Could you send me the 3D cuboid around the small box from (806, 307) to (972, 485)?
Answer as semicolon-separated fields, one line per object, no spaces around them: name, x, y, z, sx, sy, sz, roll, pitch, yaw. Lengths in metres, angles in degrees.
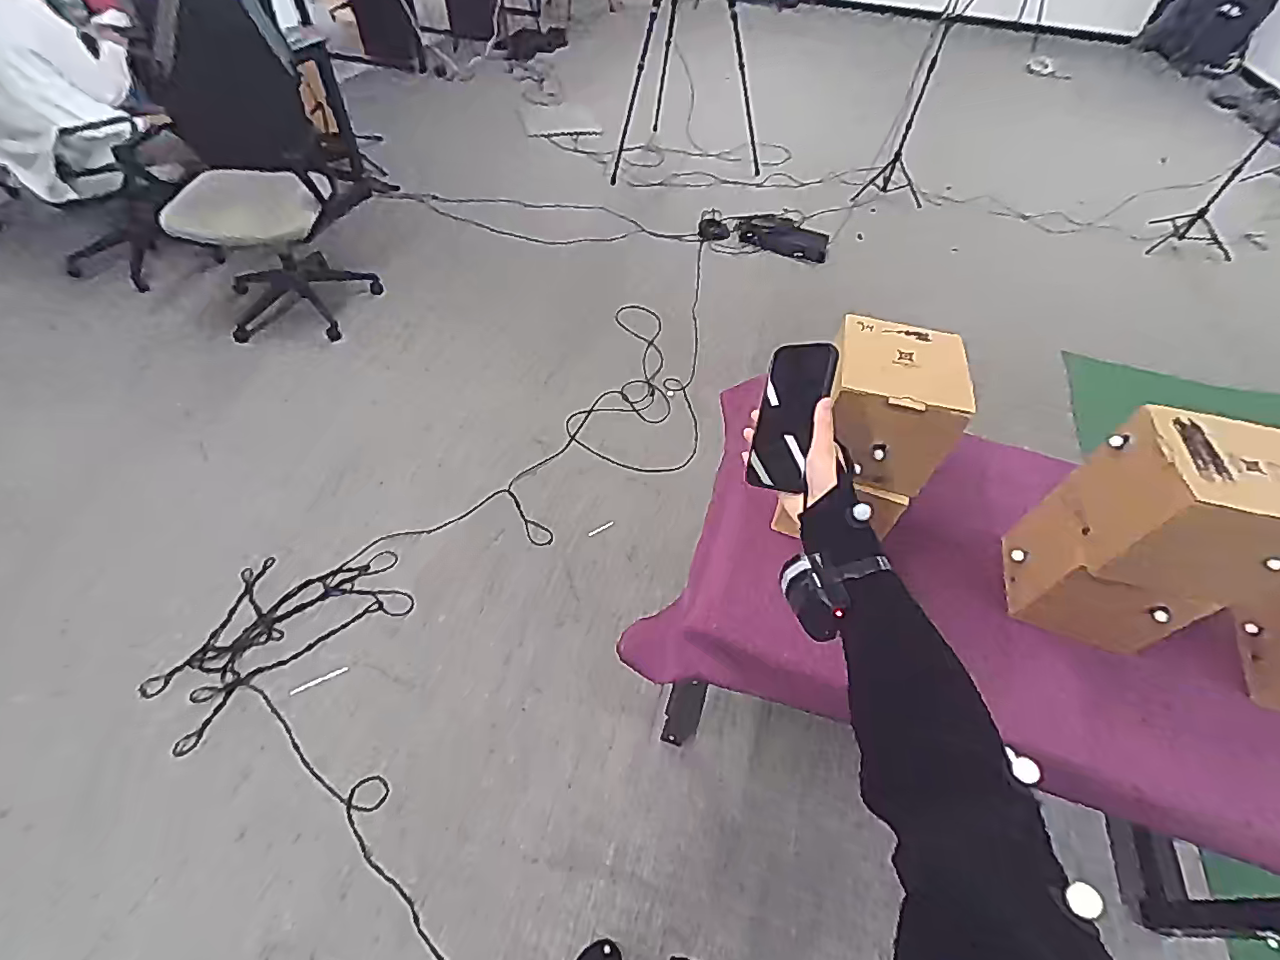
small box;0.348;-0.117;0.784;0.168;0.176;0.179;14;52;8

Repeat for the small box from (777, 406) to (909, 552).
small box;0.338;-0.007;0.906;0.168;0.176;0.179;18;52;11

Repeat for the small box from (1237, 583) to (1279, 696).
small box;1.012;0.230;0.748;0.179;0.176;0.168;22;52;15

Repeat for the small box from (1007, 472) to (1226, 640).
small box;0.697;0.120;0.819;0.179;0.176;0.168;17;52;11
